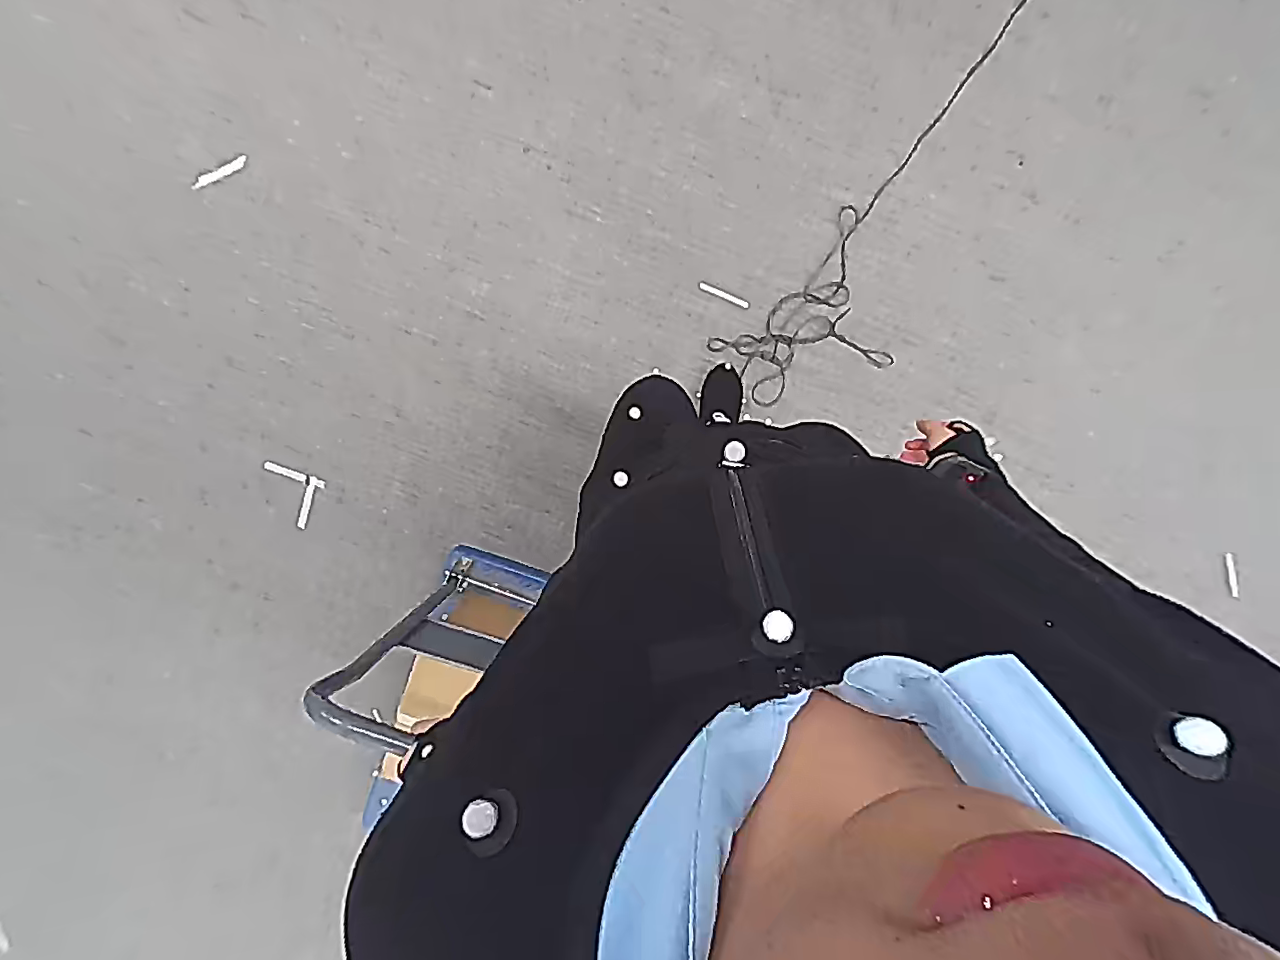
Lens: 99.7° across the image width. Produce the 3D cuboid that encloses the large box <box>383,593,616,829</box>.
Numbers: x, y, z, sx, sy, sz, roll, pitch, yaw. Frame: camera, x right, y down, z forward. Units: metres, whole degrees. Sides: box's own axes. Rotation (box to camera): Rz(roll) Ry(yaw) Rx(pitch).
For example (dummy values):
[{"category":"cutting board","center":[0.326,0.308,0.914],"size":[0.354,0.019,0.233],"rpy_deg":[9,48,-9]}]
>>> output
[{"category":"large box","center":[-0.301,0.515,1.268],"size":[0.408,0.320,0.320],"rpy_deg":[21,99,-1]}]
